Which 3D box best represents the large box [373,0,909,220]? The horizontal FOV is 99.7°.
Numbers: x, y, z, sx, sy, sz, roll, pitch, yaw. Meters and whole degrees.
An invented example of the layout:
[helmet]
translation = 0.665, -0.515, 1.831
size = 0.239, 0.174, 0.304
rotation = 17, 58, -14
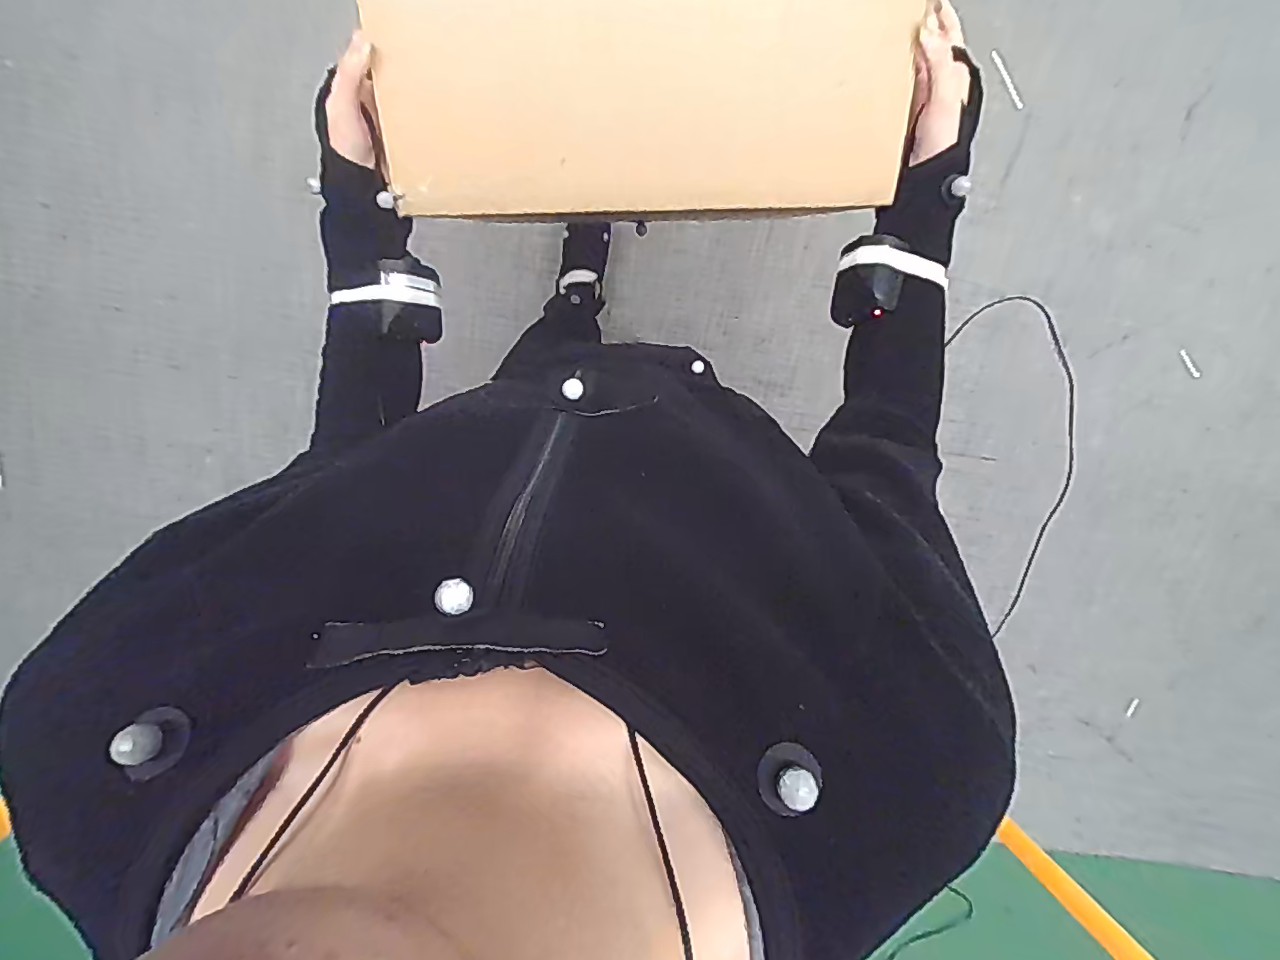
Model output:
[large box]
translation = 0.001, -0.430, 0.525
size = 0.408, 0.320, 0.320
rotation = -2, 114, -1
